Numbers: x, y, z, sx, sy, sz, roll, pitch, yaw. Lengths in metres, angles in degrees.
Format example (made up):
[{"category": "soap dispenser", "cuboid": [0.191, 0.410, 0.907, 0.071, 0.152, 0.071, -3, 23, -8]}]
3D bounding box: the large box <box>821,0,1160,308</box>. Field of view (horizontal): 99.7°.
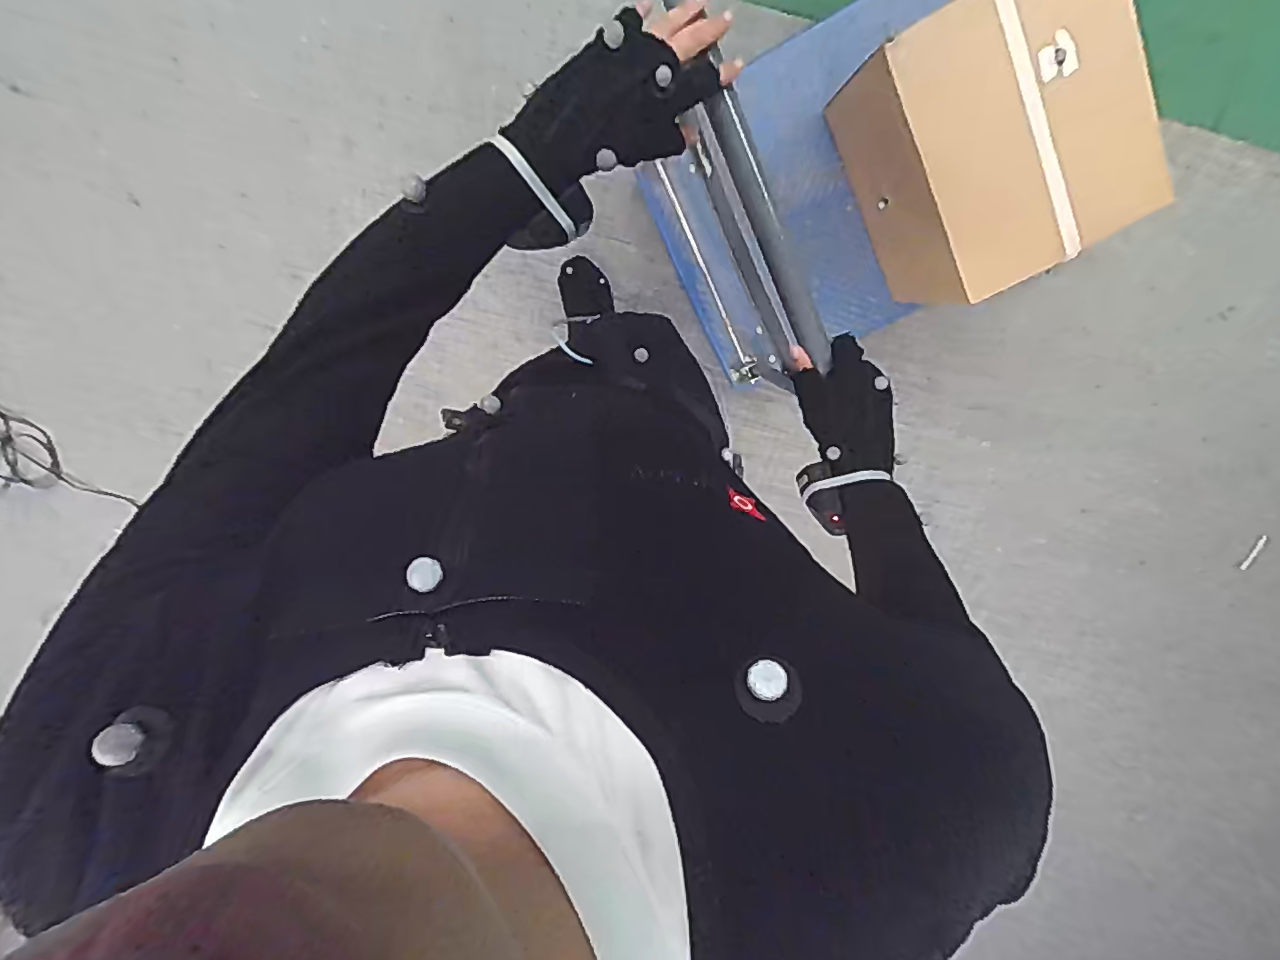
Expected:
[{"category": "large box", "cuboid": [0.564, -0.555, 0.932, 0.320, 0.320, 0.408, -26, 105, 11]}]
